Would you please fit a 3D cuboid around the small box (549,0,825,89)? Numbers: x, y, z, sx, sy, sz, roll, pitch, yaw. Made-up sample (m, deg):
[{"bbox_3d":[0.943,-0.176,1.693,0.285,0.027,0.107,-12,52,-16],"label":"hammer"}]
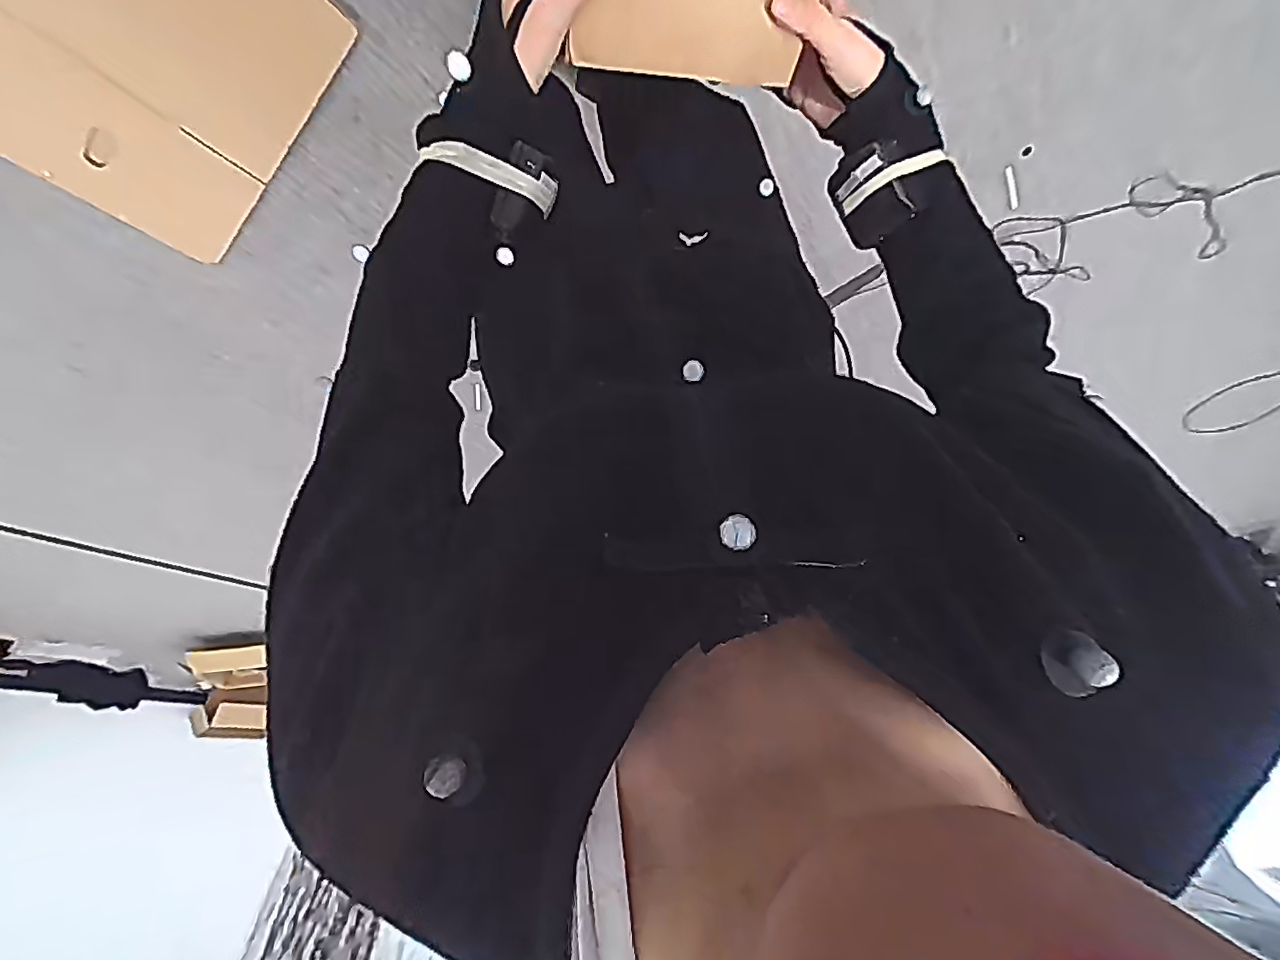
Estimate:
[{"bbox_3d":[0.031,-0.403,0.365,0.179,0.176,0.168,-6,149,-16],"label":"small box"}]
